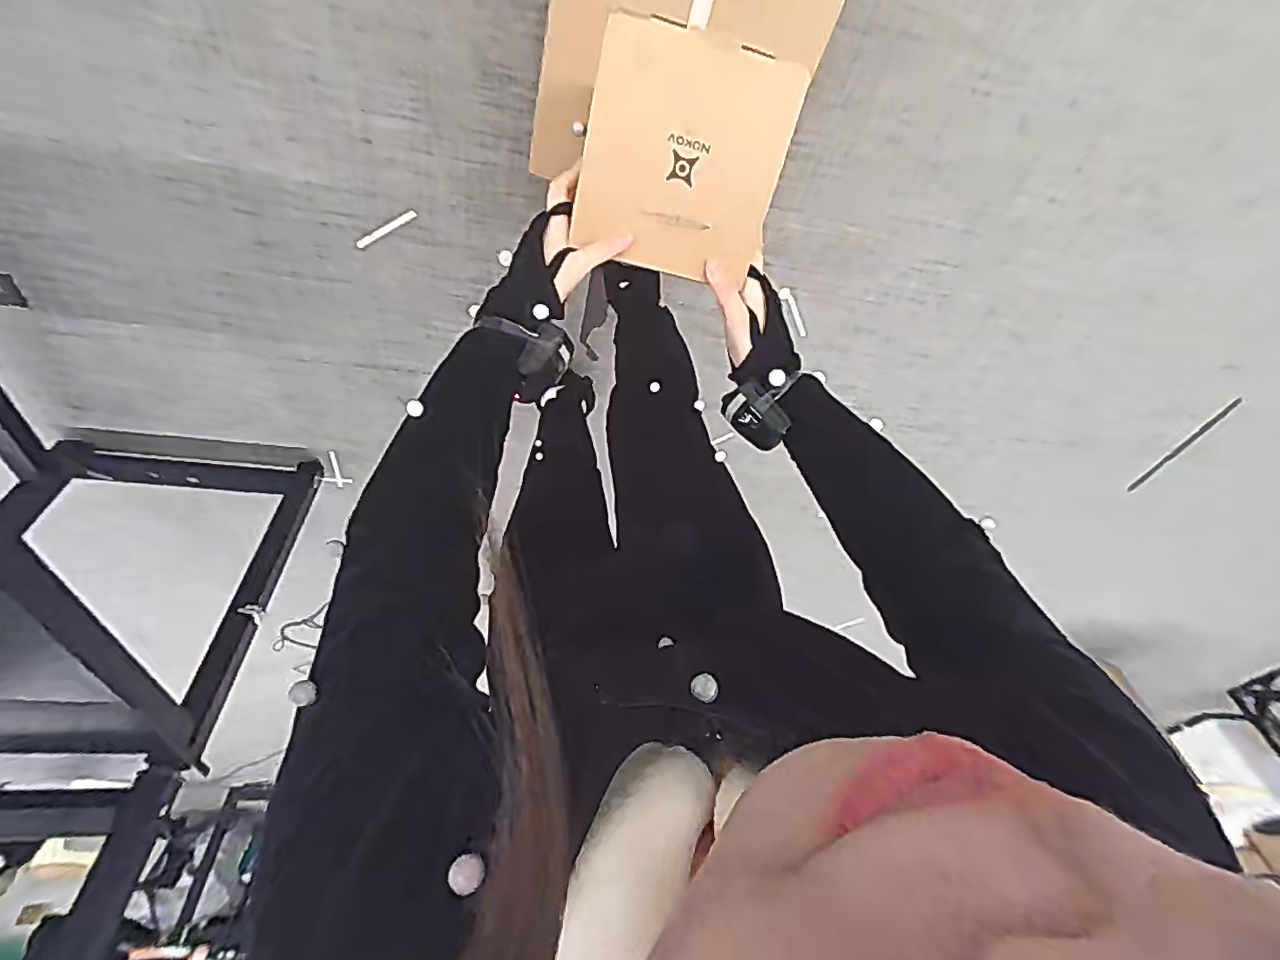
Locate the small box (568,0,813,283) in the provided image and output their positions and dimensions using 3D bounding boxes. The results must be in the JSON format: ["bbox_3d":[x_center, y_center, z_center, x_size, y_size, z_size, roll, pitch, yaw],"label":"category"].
[{"bbox_3d":[0.029,-0.309,0.510,0.168,0.176,0.179,11,119,-12],"label":"small box"}]
